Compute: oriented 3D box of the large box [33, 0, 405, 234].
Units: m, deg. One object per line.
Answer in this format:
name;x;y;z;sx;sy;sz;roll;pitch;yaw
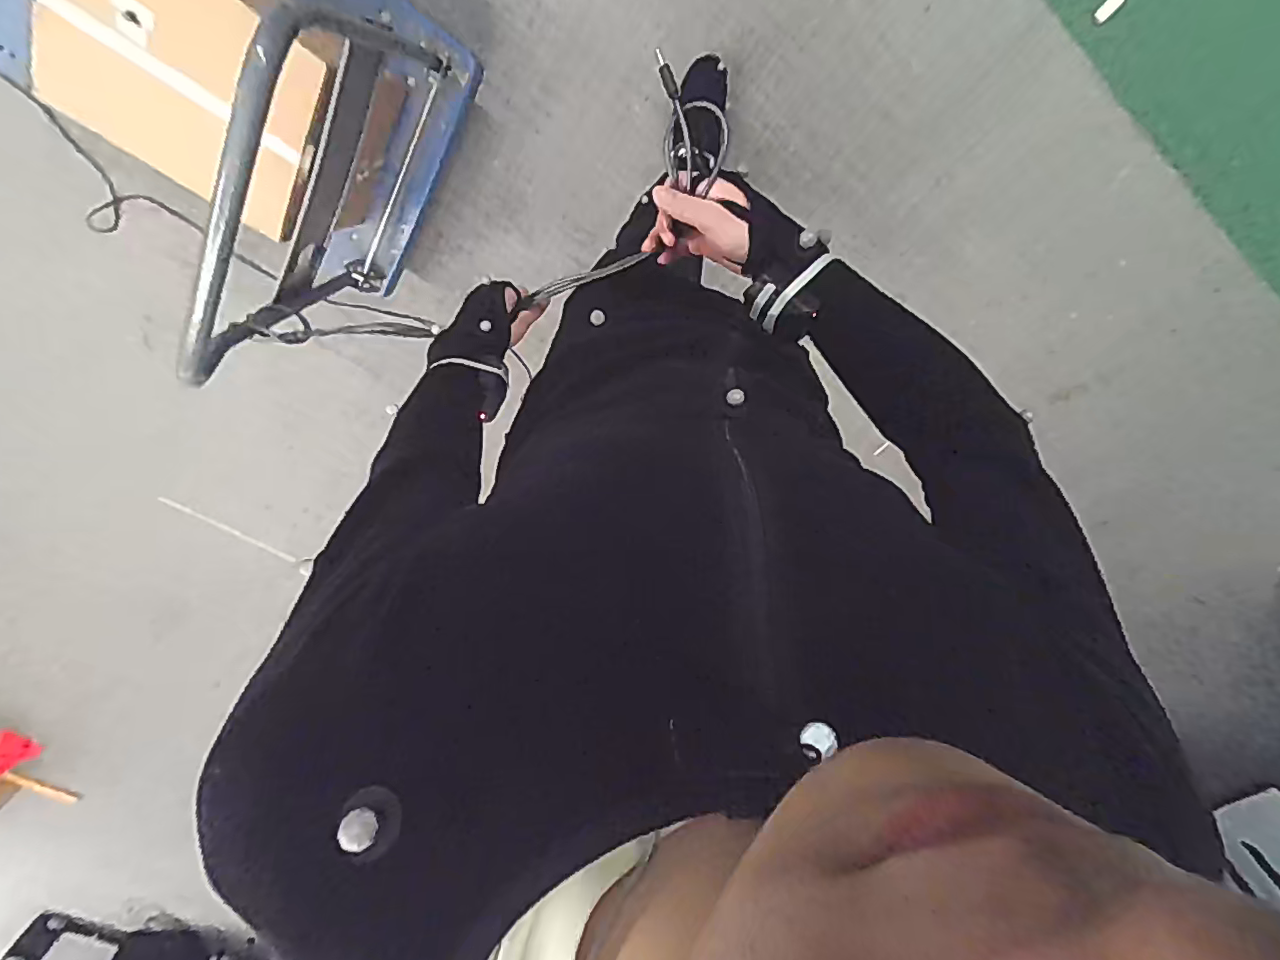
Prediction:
large box;-0.717;-0.715;0.975;0.408;0.320;0.320;31;118;-15
